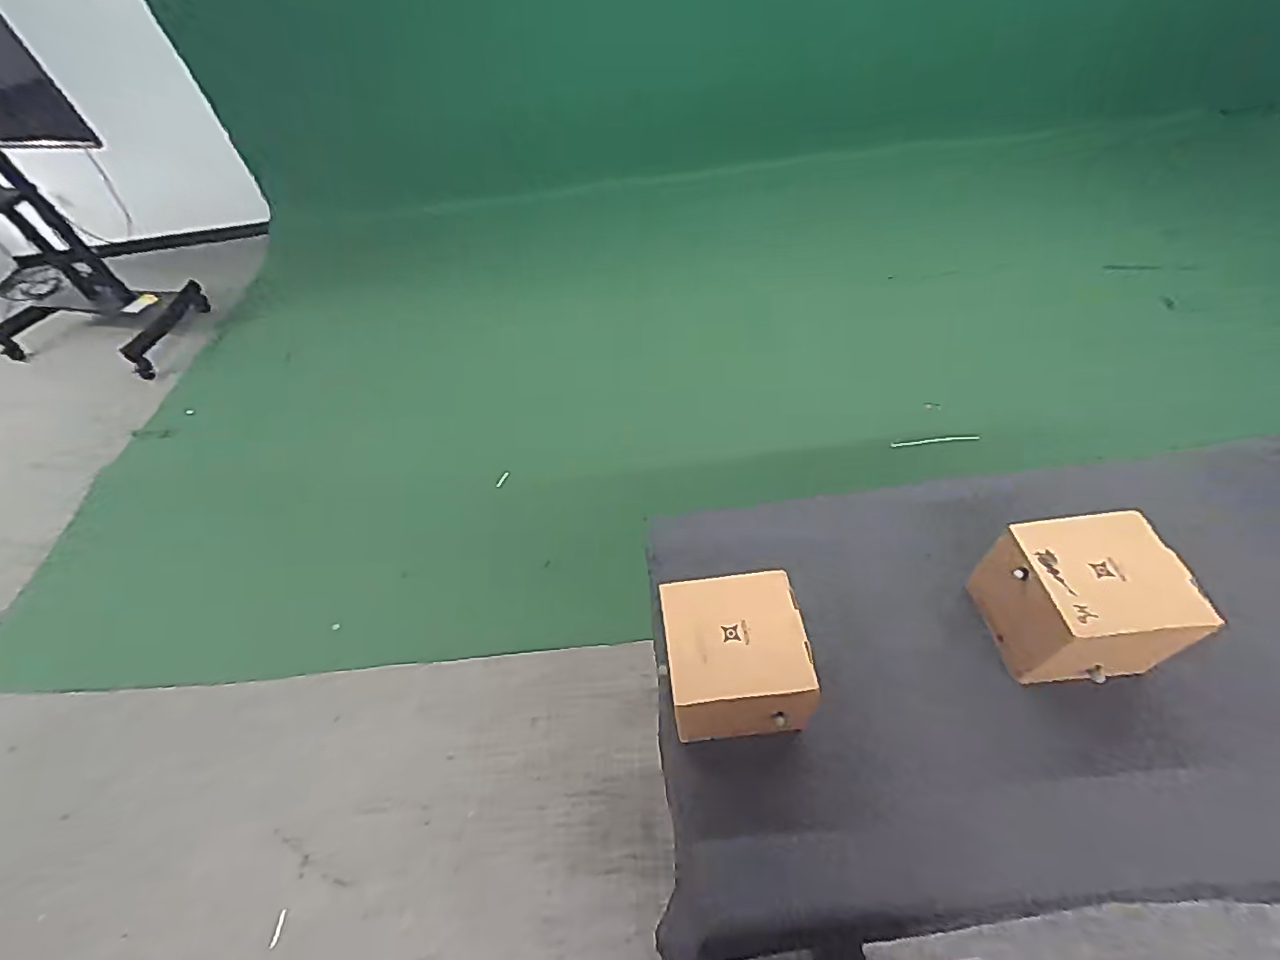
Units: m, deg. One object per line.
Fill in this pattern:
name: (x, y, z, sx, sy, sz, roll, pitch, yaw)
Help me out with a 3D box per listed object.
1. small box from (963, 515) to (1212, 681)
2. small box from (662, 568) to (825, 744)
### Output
small box: (0.602, 0.169, 0.759, 0.179, 0.176, 0.168, -5, 50, -1)
small box: (0.126, 0.241, 0.733, 0.179, 0.176, 0.168, -7, 49, -1)
